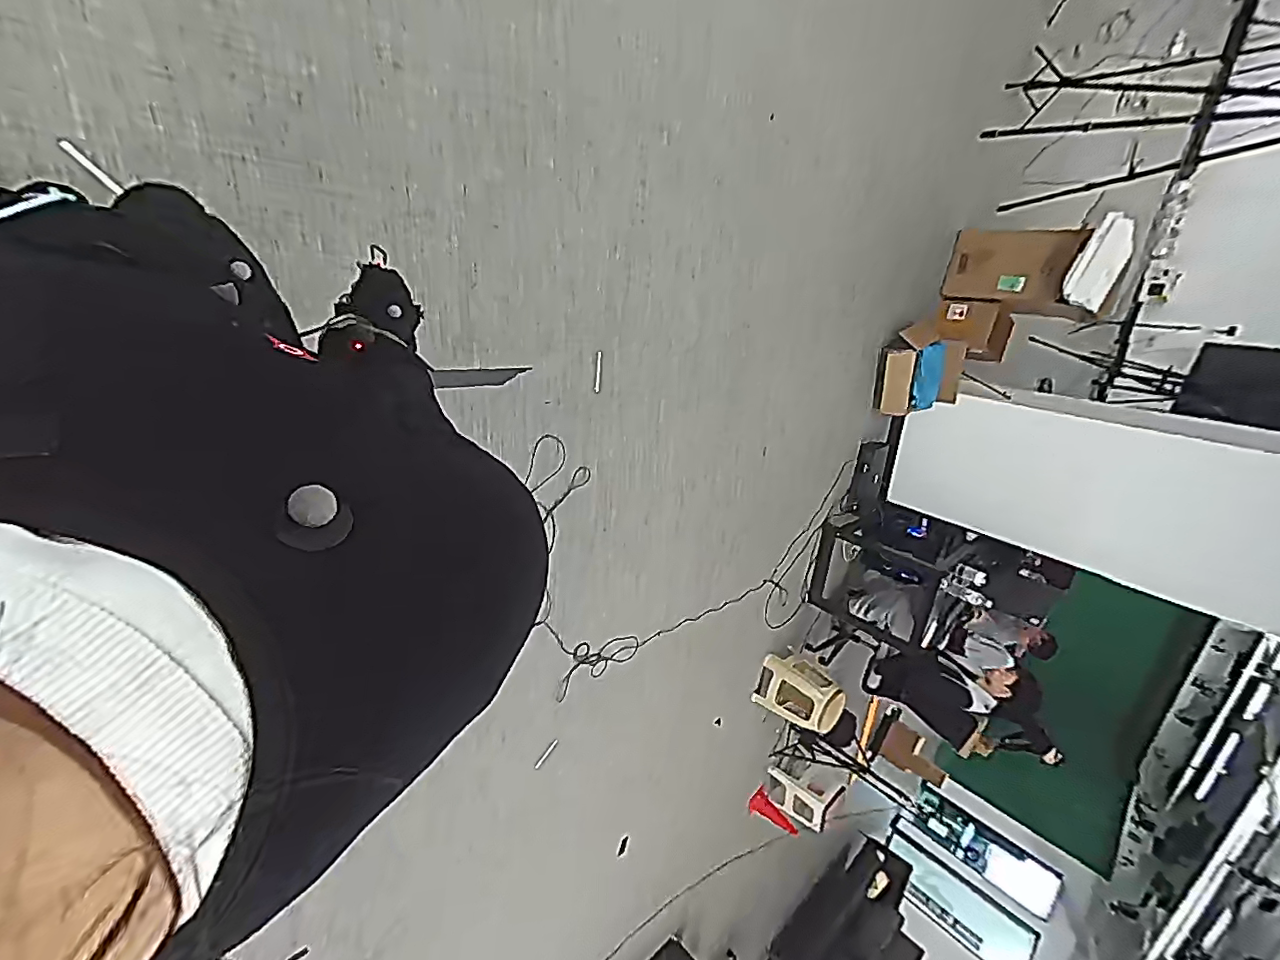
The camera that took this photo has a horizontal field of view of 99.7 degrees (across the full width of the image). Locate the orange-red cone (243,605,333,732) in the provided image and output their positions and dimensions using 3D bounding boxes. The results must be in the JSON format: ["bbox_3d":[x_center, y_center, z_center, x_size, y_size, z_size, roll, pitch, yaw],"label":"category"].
[{"bbox_3d":[-0.804,0.480,1.294,0.199,0.360,0.198,-3,110,-43],"label":"orange-red cone"}]
